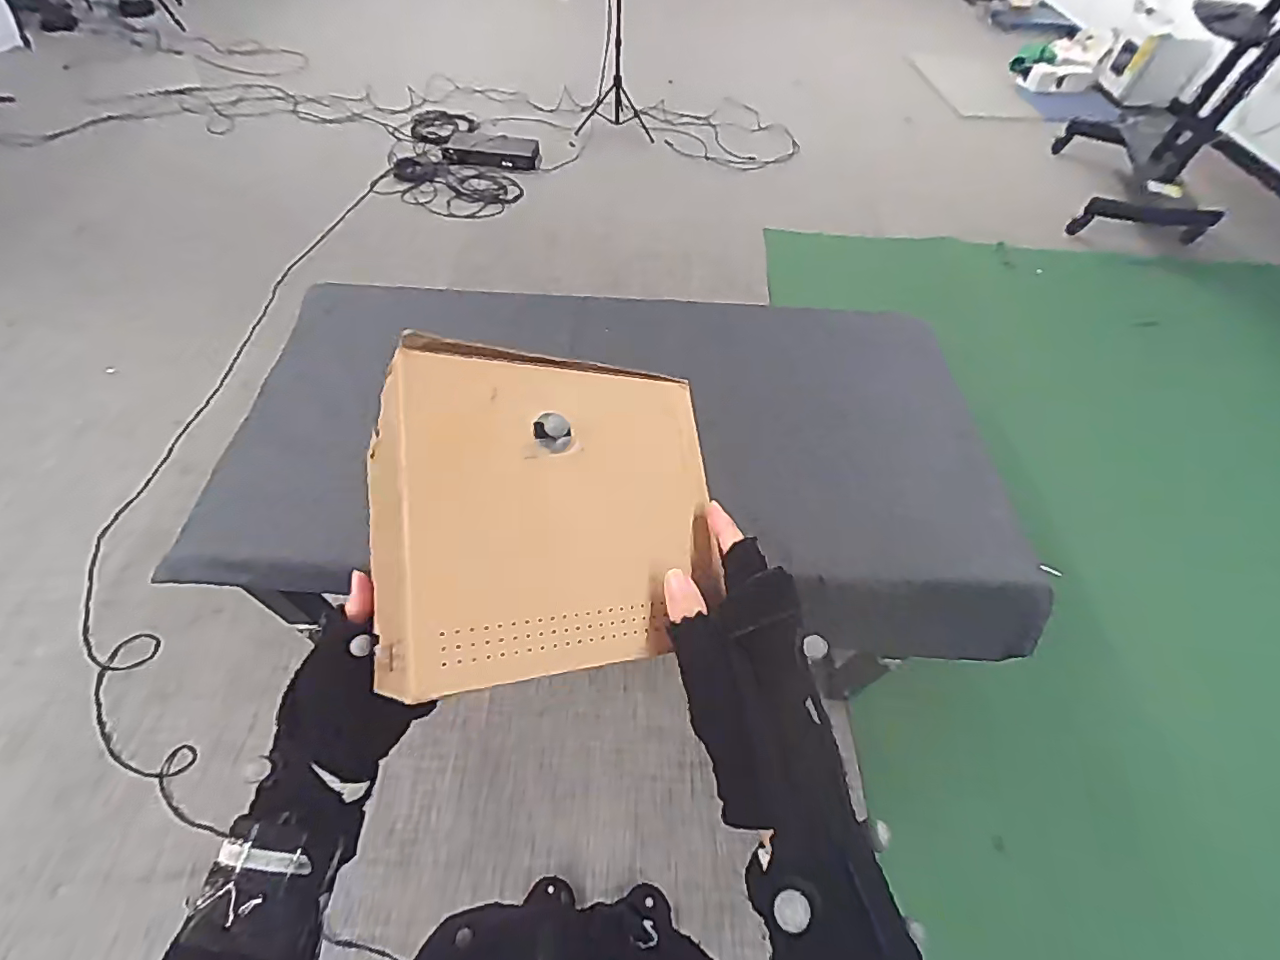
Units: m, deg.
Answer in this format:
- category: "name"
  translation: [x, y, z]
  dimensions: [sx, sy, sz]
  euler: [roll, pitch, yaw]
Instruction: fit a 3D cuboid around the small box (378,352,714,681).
- category: "small box"
  translation: [-0.072, 0.036, 0.369]
  dimensions: [0.179, 0.168, 0.176]
  euler: [1, 73, -32]
